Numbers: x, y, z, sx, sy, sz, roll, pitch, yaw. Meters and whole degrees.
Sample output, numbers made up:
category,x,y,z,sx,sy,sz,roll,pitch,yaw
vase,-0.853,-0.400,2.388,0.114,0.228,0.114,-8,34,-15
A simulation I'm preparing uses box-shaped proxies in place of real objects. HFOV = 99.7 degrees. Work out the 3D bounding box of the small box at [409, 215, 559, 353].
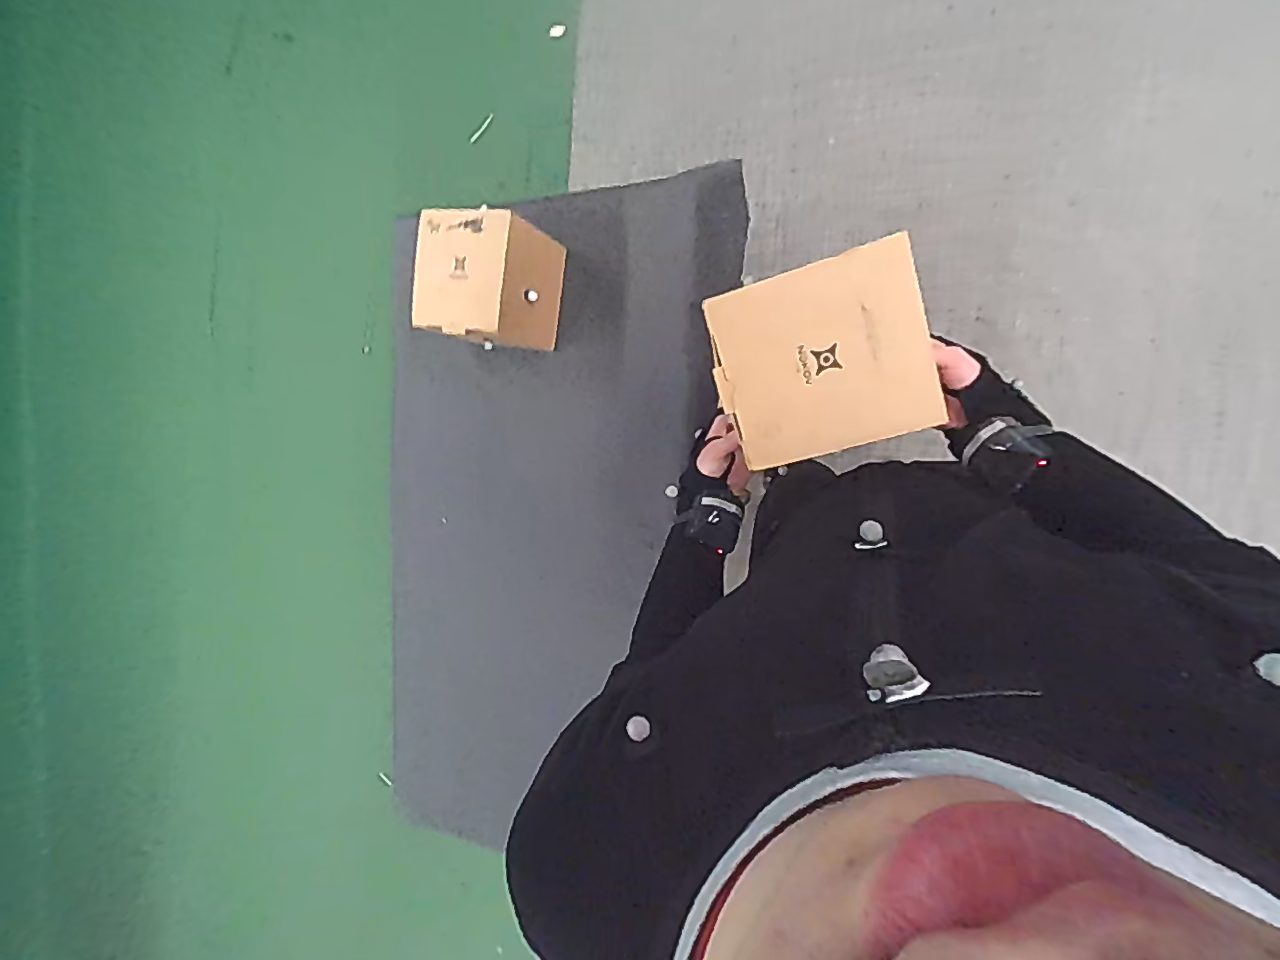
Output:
category,x,y,z,sx,sy,sz,roll,pitch,yaw
small box,-0.247,-0.311,0.883,0.168,0.176,0.179,11,98,19

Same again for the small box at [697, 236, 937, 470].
category,x,y,z,sx,sy,sz,roll,pitch,yaw
small box,0.171,-0.123,0.553,0.179,0.176,0.168,-15,101,15
